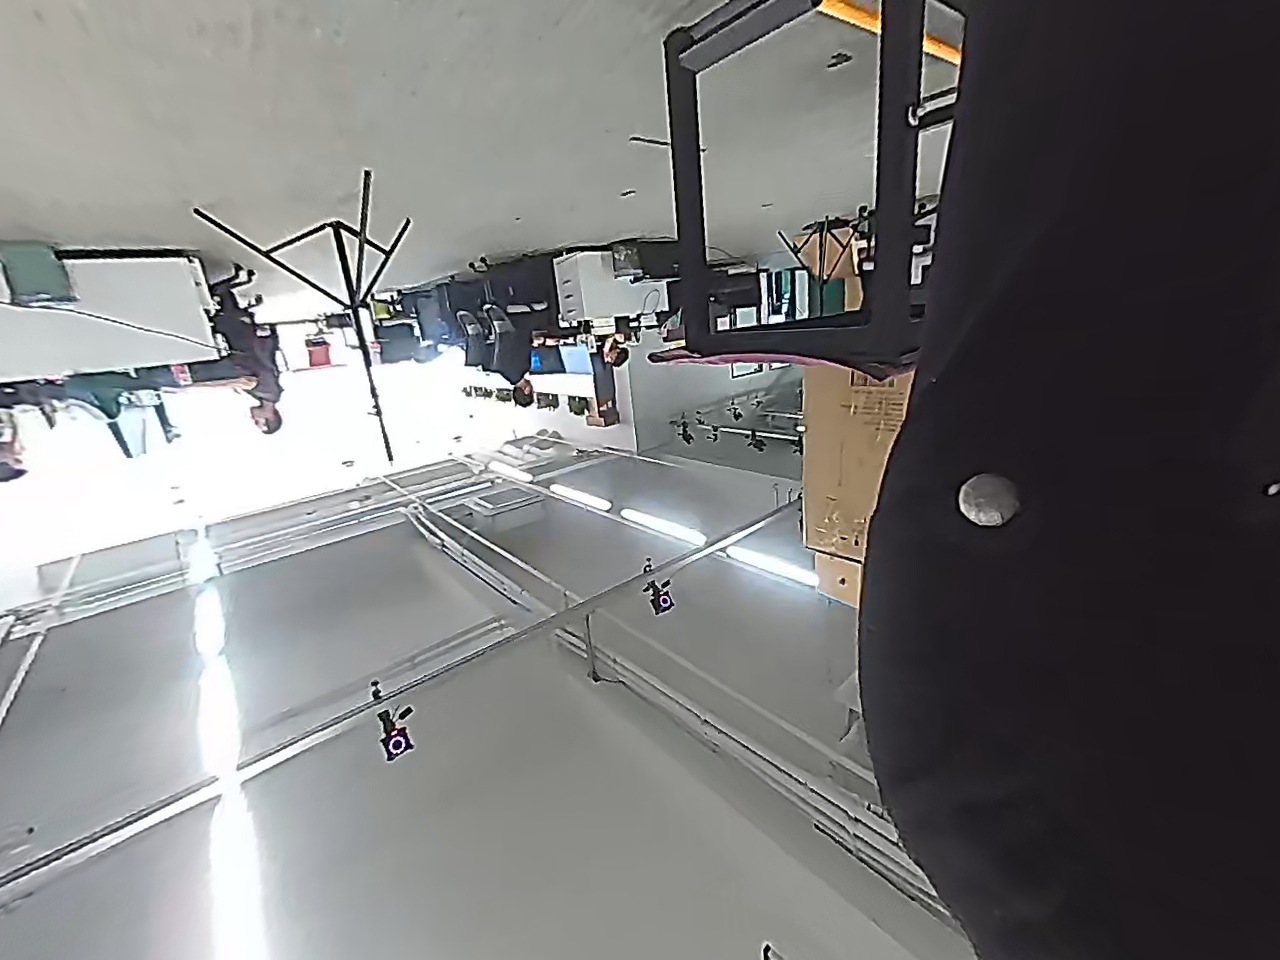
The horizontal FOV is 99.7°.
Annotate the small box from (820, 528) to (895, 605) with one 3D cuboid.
[{"bbox_3d":[0.692,0.267,1.726,0.179,0.176,0.168,-19,-158,-31],"label":"small box"}]
